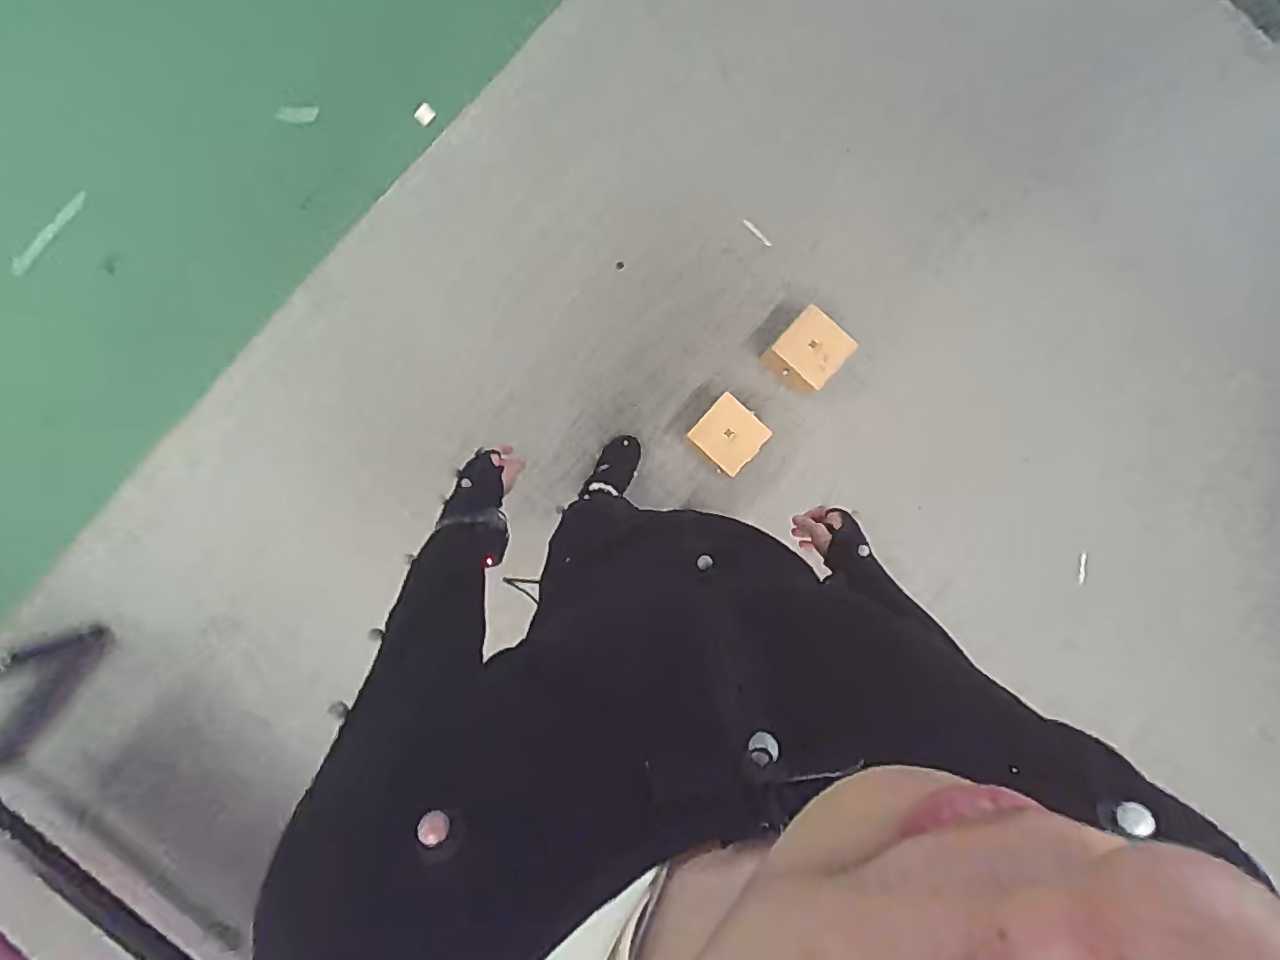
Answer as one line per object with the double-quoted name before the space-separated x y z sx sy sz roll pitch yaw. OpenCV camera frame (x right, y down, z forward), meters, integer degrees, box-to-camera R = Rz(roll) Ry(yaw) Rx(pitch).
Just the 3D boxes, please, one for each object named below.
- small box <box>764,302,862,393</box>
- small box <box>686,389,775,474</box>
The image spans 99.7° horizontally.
"small box" 0.475 -0.361 1.520 0.179 0.176 0.168 43 92 -2
"small box" 0.246 -0.132 1.532 0.179 0.176 0.168 43 91 -2
